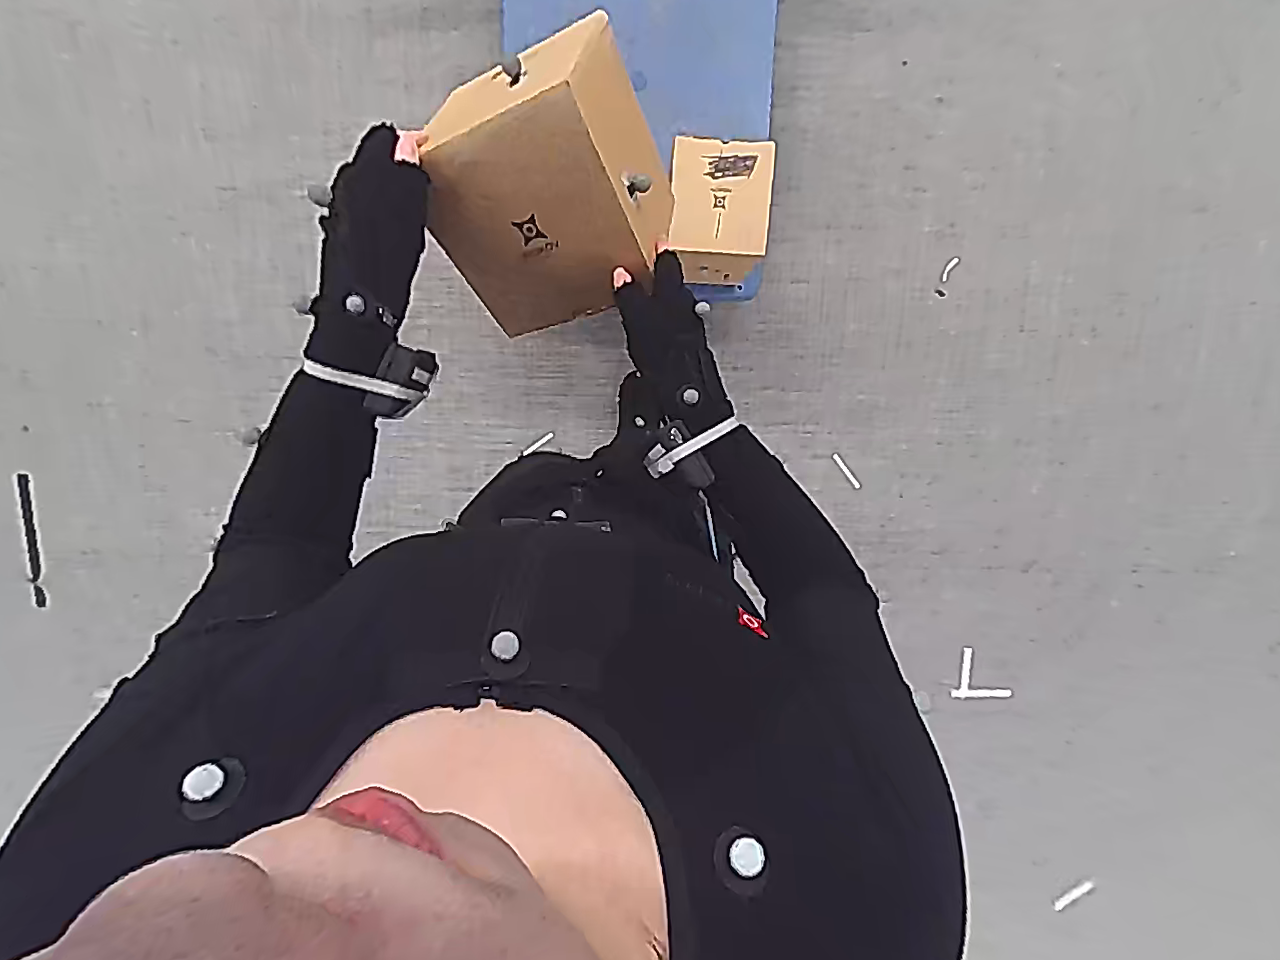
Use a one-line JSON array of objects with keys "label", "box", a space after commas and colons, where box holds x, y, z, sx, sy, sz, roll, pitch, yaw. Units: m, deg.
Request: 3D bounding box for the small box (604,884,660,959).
[{"label": "small box", "box": [-0.023, 1.397, 1.682, 0.168, 0.176, 0.179, -3, 101, 2]}]

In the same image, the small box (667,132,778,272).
[{"label": "small box", "box": [0.133, -0.481, 0.959, 0.168, 0.176, 0.179, 4, 101, -1]}]

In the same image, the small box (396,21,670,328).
[{"label": "small box", "box": [-0.078, -0.278, 0.498, 0.168, 0.176, 0.179, -10, 141, 21]}]
